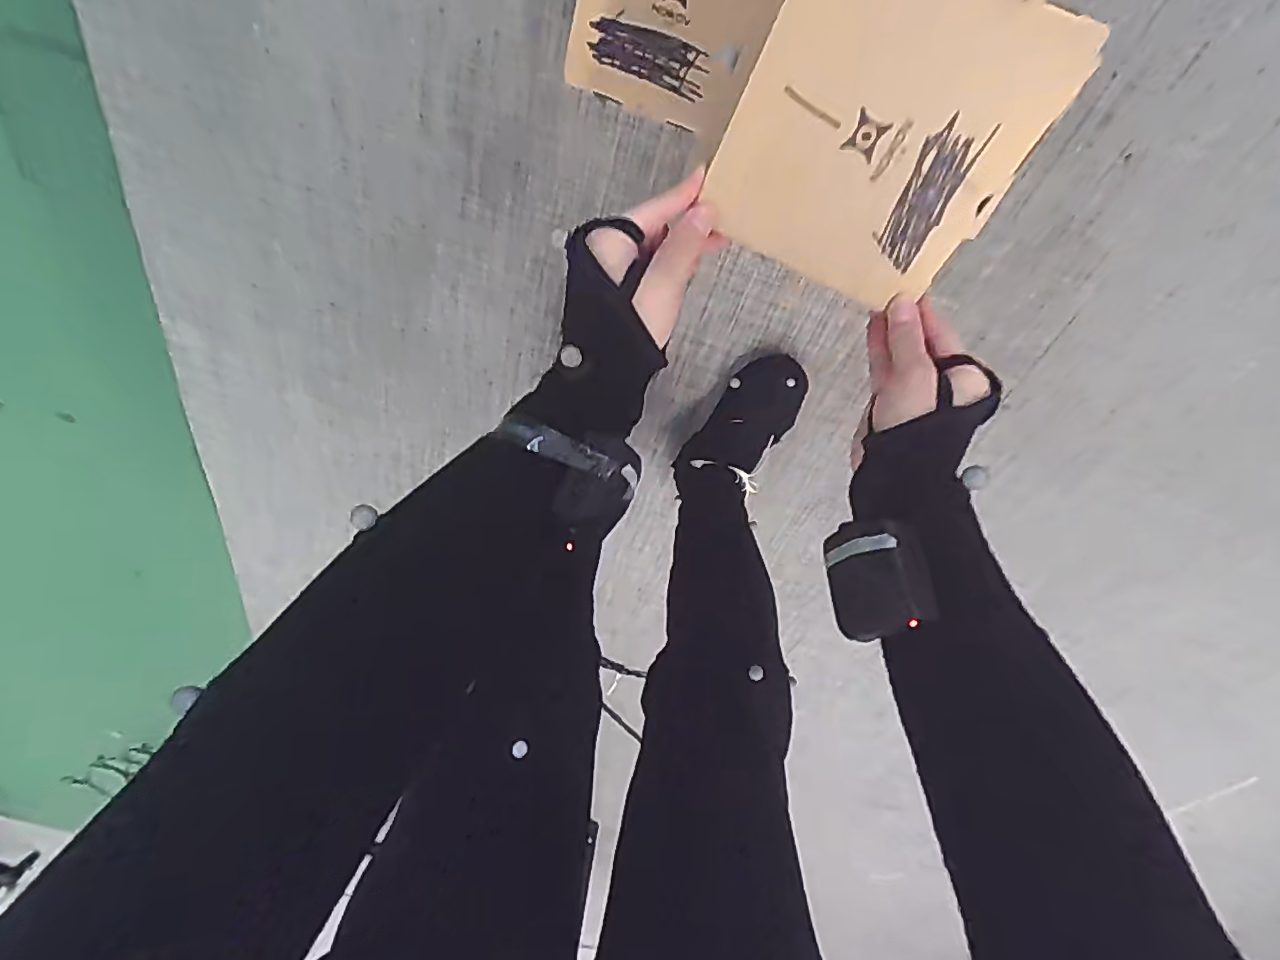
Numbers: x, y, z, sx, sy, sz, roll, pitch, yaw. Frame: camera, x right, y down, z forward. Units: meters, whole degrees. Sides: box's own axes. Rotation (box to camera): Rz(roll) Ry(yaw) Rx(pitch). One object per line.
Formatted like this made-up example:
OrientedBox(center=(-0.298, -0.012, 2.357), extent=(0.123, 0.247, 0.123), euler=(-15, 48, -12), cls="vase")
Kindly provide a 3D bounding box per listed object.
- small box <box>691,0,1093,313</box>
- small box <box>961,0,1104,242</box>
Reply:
OrientedBox(center=(0.150, -0.256, 0.393), extent=(0.179, 0.176, 0.168), euler=(21, 126, -11), cls="small box")
OrientedBox(center=(0.297, -0.378, 0.555), extent=(0.168, 0.176, 0.179), euler=(18, 127, -5), cls="small box")
